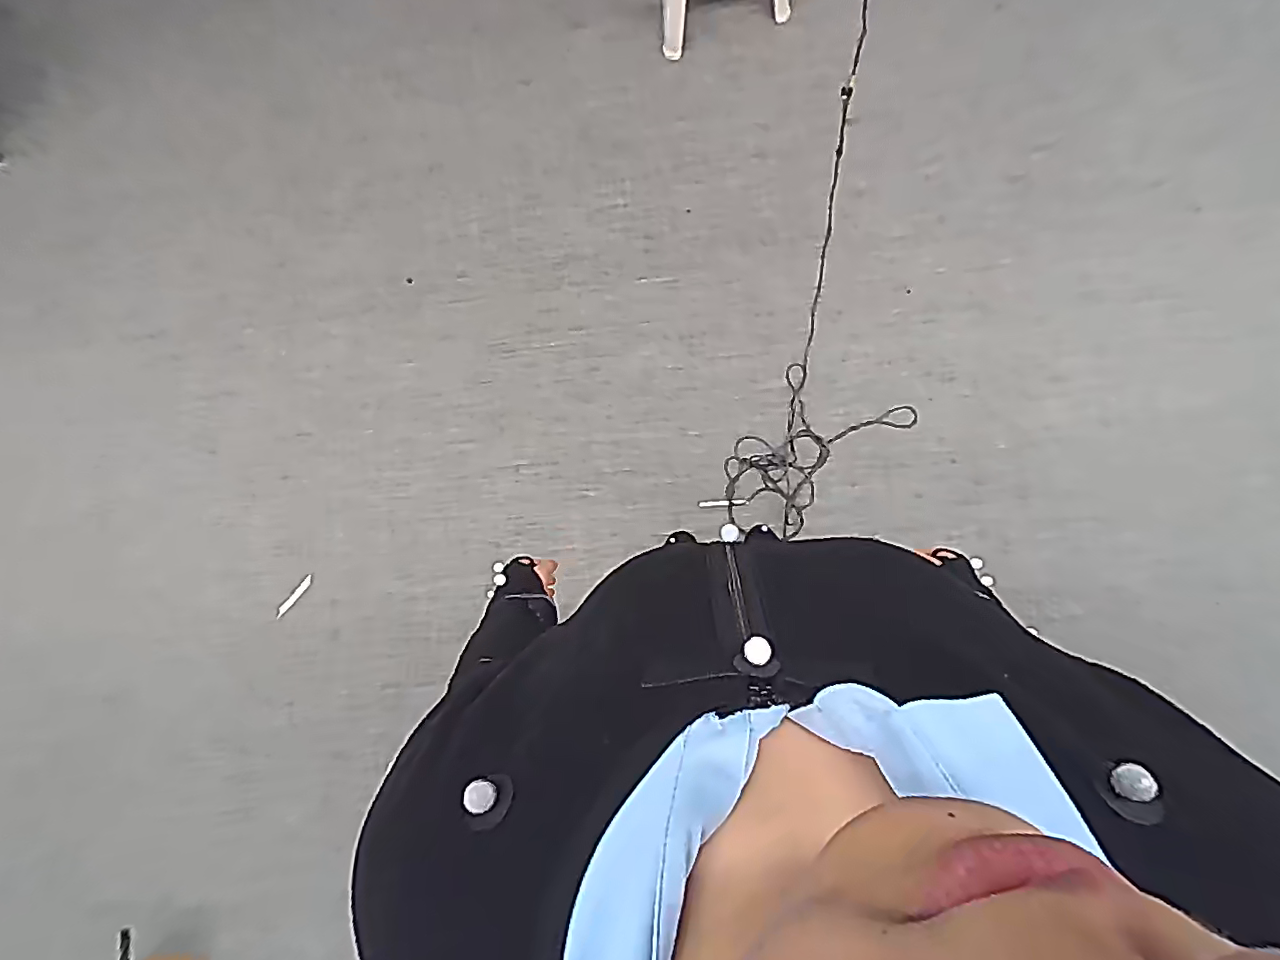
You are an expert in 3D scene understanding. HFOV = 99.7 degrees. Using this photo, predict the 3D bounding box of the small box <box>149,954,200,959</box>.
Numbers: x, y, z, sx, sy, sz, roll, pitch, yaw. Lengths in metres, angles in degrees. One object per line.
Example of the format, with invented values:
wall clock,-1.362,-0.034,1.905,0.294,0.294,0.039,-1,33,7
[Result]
small box,-1.356,1.460,1.491,0.179,0.176,0.168,-2,84,7
